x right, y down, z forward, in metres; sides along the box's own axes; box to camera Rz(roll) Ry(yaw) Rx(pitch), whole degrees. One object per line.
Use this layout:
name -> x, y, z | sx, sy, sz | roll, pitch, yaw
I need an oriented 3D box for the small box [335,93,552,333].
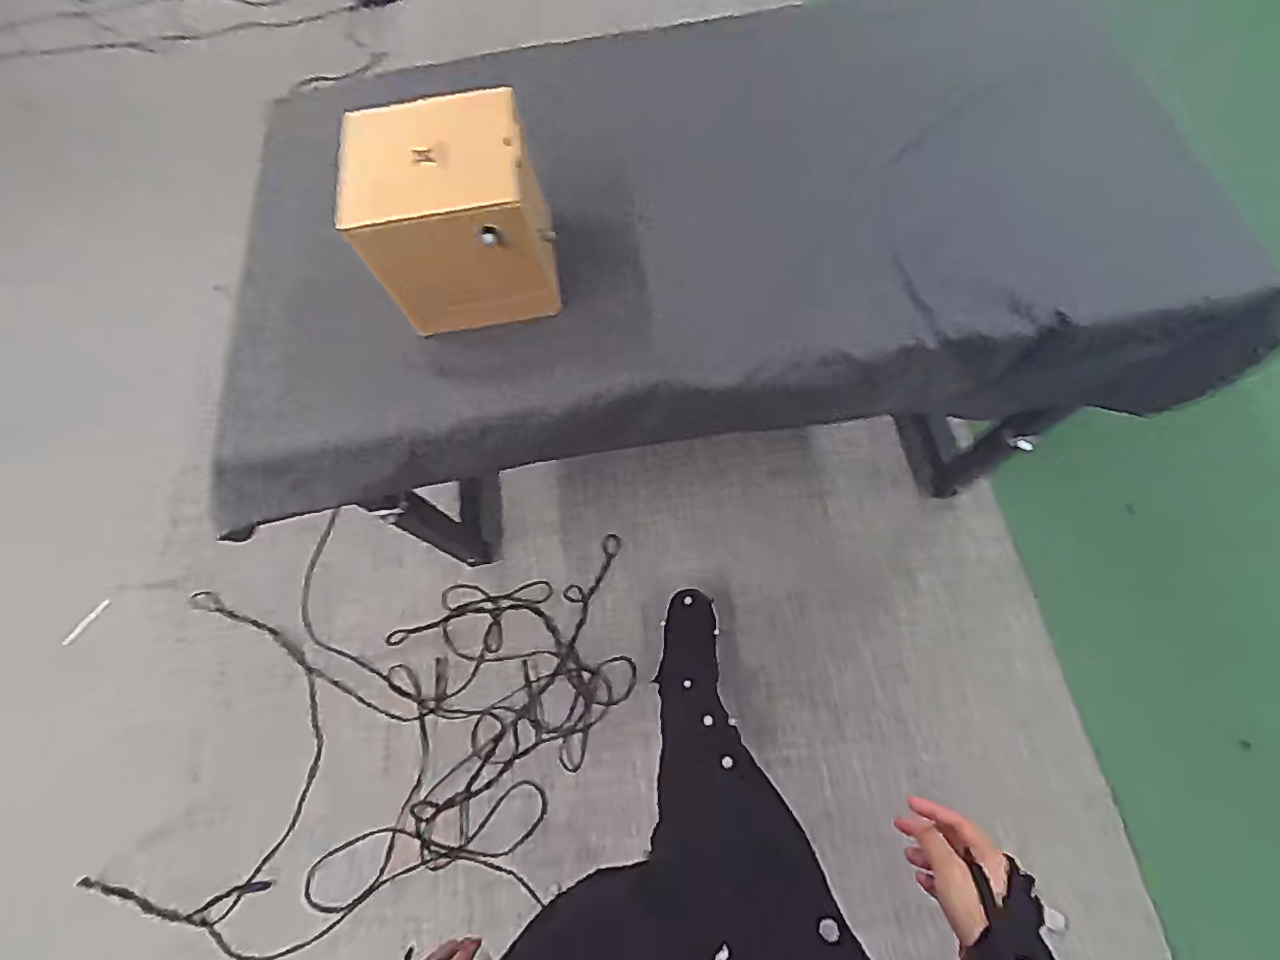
small box -> -0.210, -0.290, 0.614 | 0.179, 0.176, 0.168 | -10, 68, 0
